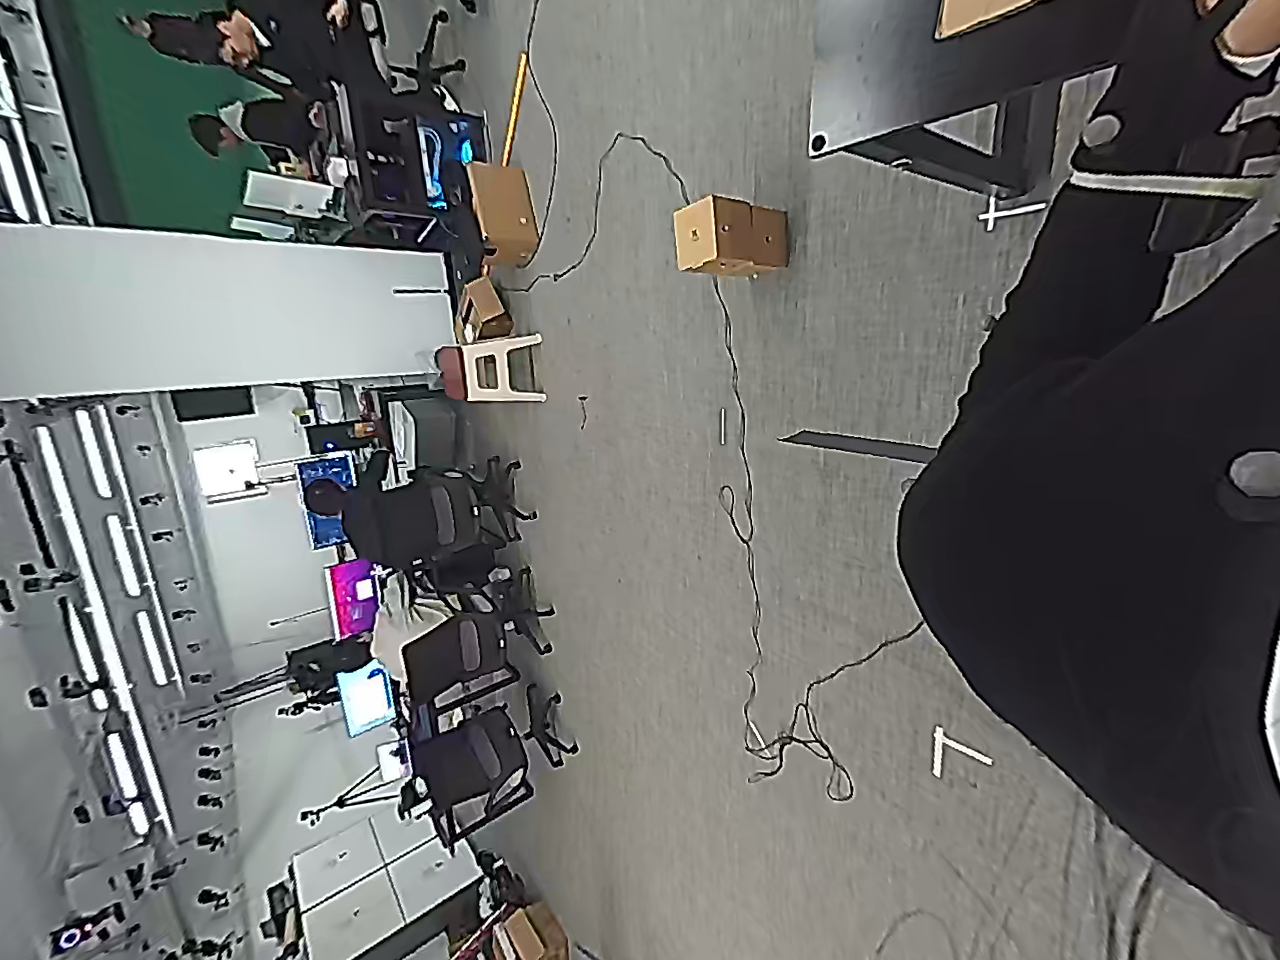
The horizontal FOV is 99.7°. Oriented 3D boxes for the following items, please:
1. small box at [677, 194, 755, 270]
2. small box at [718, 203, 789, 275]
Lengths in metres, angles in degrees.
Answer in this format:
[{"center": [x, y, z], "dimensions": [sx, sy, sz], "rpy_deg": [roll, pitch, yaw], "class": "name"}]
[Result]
[{"center": [0.234, -0.743, 1.641], "dimensions": [0.168, 0.176, 0.179], "rpy_deg": [6, 105, 52], "class": "small box"}, {"center": [0.363, -0.766, 1.738], "dimensions": [0.168, 0.176, 0.179], "rpy_deg": [10, 109, 51], "class": "small box"}]
